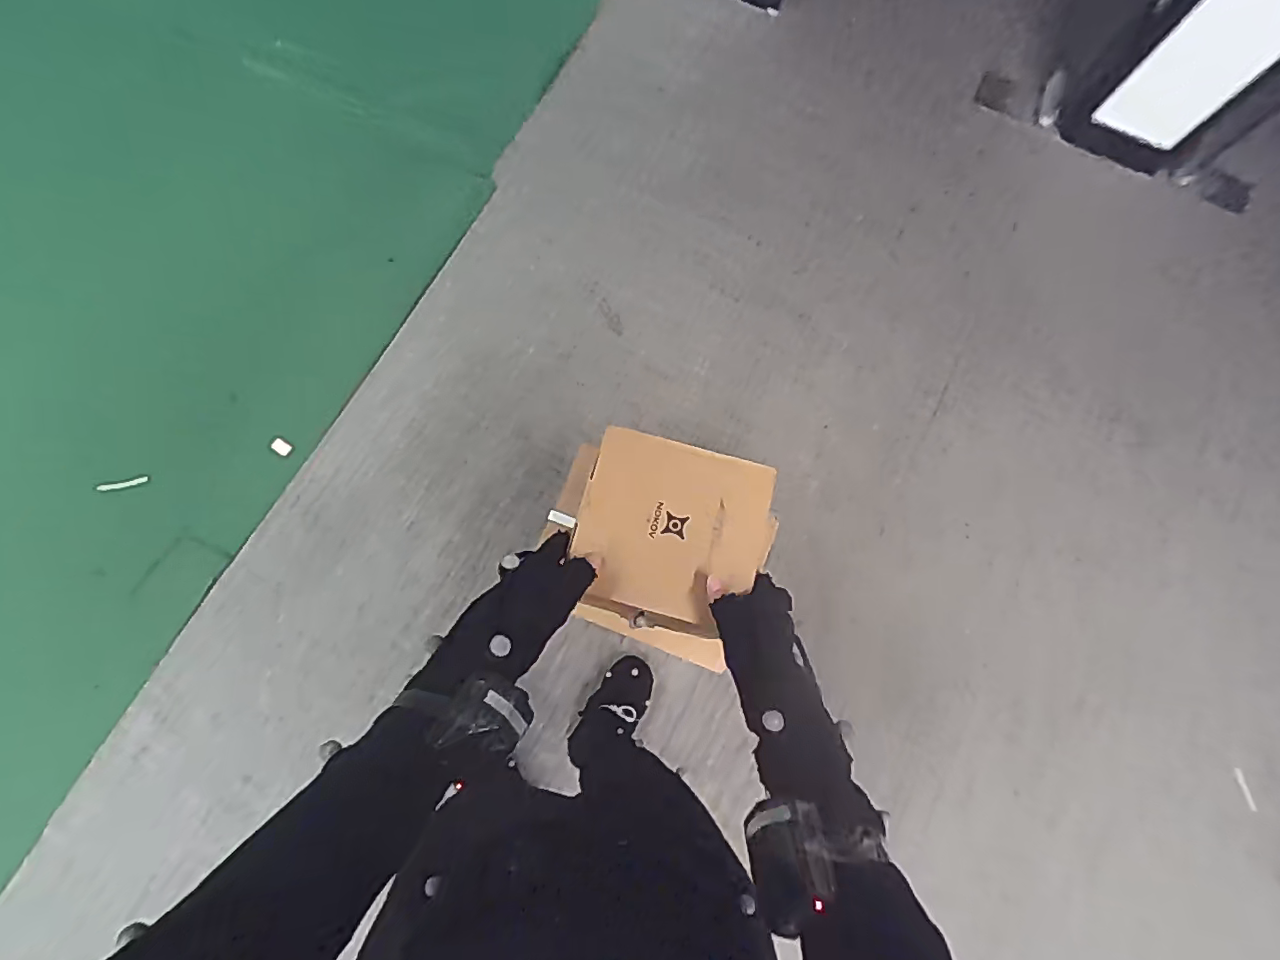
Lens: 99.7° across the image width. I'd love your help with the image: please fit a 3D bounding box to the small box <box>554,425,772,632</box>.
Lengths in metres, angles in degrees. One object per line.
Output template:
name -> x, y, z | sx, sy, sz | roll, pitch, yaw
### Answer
small box -> 0.022, 0.063, 0.579 | 0.179, 0.176, 0.168 | 14, 74, 1
